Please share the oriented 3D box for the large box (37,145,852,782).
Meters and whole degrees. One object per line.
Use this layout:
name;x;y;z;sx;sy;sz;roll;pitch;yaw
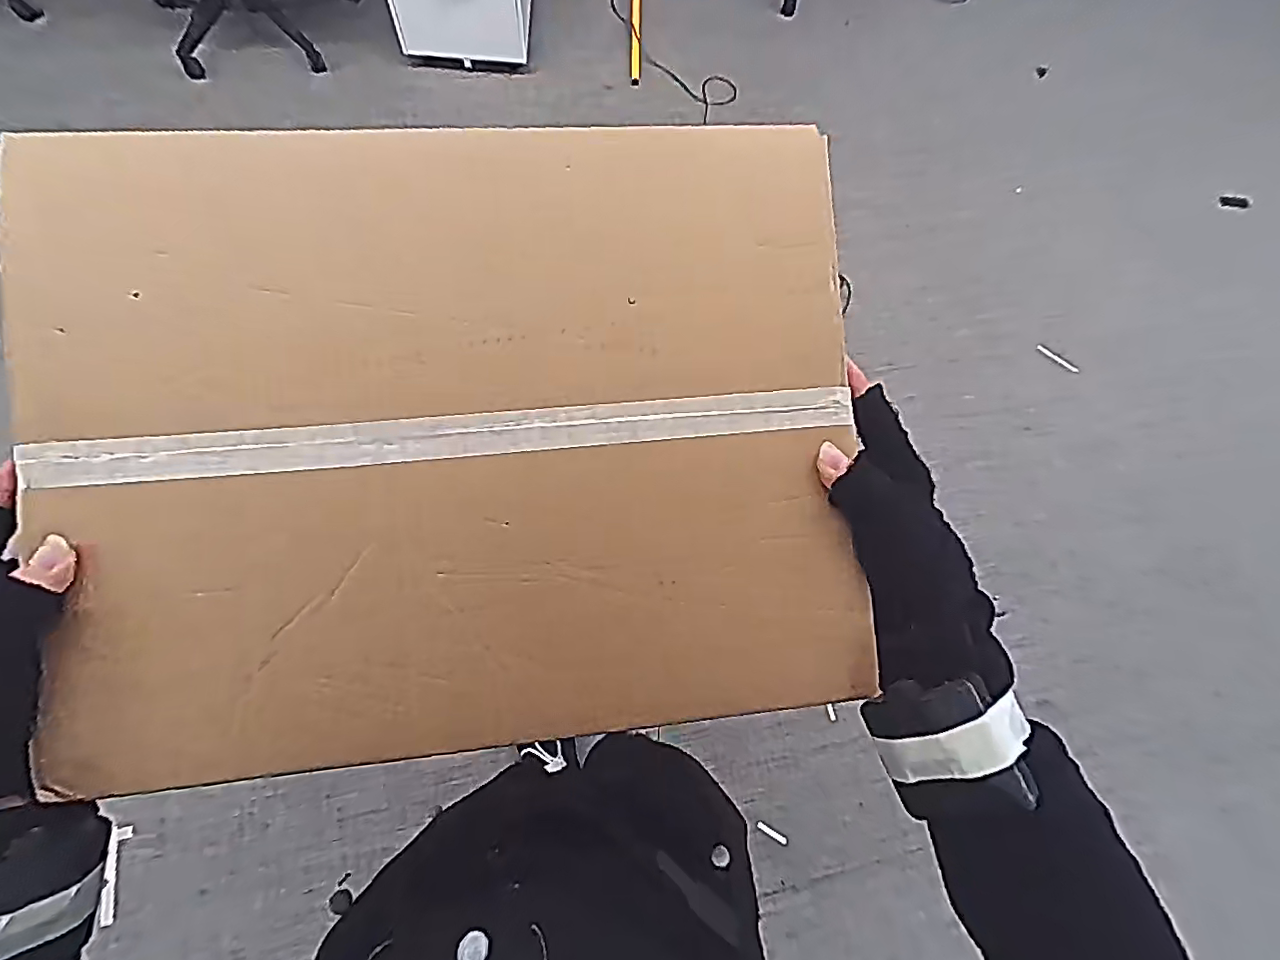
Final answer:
large box;-0.103;-0.019;0.432;0.408;0.320;0.320;-4;88;-6
